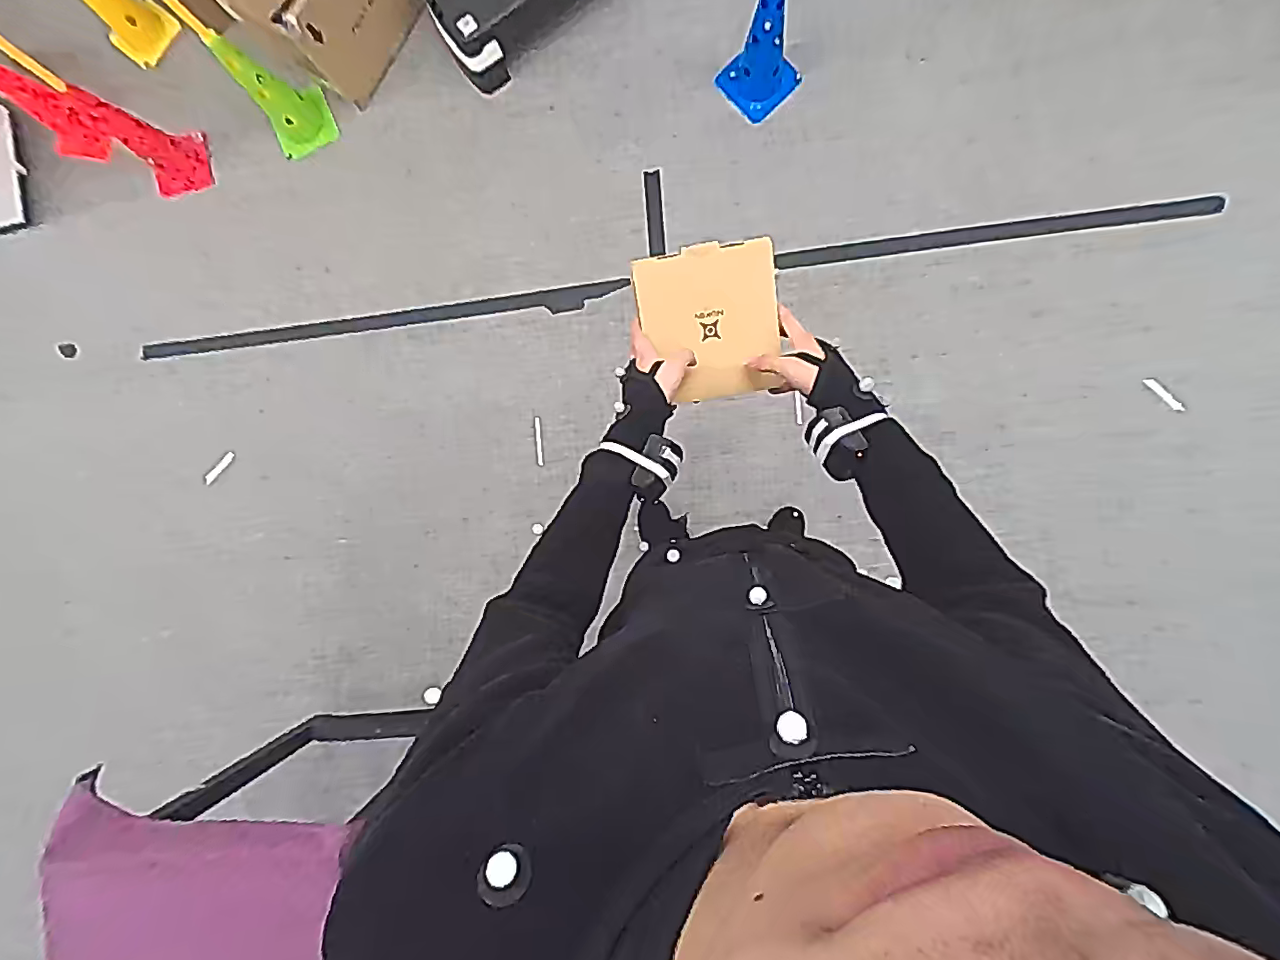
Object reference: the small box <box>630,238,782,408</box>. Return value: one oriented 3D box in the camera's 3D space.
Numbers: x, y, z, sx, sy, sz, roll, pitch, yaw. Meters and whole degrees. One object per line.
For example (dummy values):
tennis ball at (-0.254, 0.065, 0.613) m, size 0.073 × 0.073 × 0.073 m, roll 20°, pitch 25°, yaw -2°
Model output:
small box at (0.083, -0.206, 0.717) m, size 0.168 × 0.176 × 0.179 m, roll -9°, pitch 107°, yaw 2°
